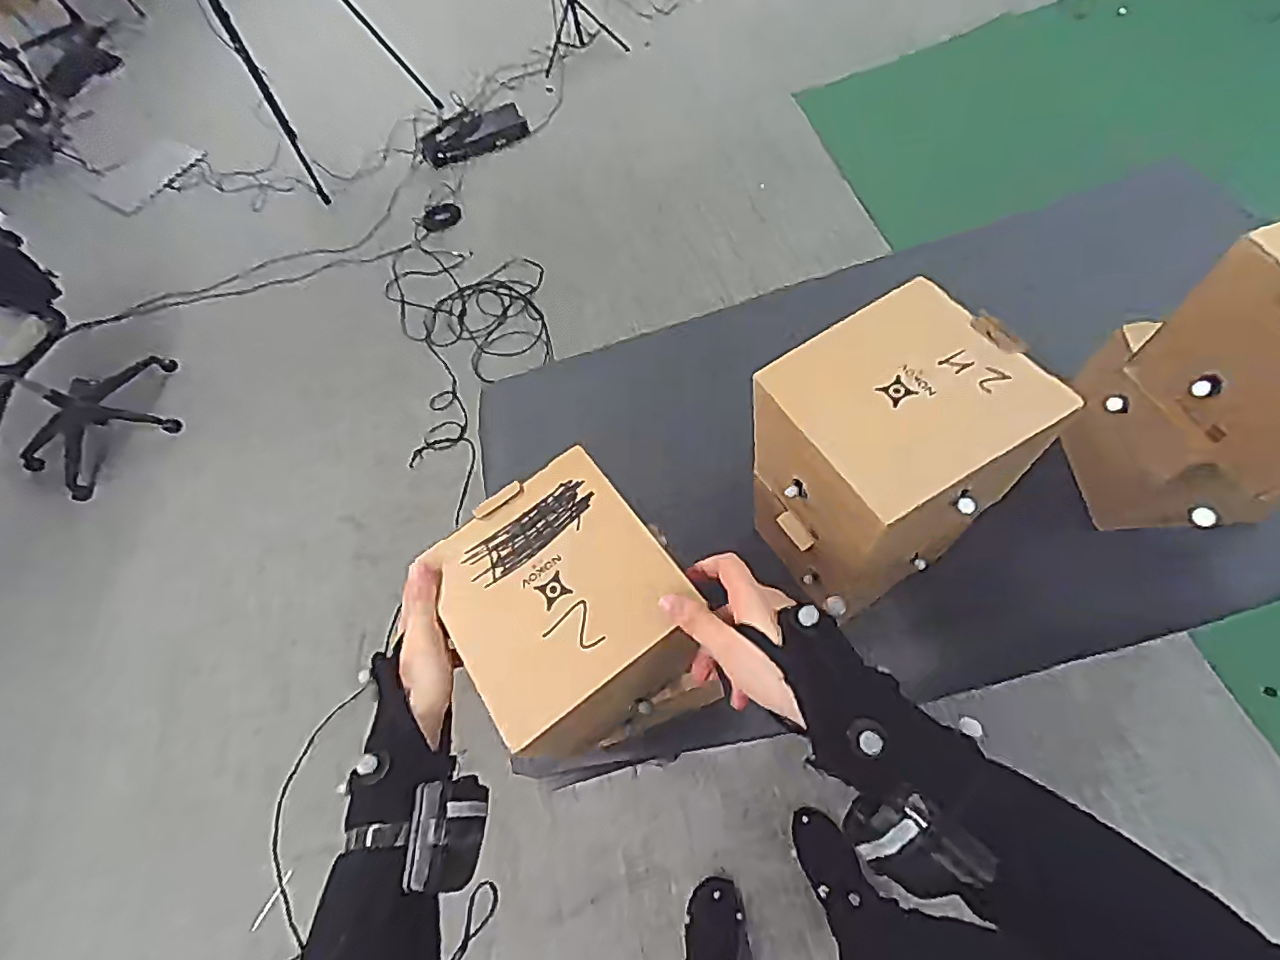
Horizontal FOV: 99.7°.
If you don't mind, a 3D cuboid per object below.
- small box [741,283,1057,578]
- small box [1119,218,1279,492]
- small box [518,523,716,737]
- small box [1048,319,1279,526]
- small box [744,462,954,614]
[{"bbox_3d":[0.213,-0.035,0.498,0.179,0.176,0.168,-30,61,-4],"label":"small box"},{"bbox_3d":[0.578,-0.115,0.454,0.179,0.176,0.168,-20,60,4],"label":"small box"},{"bbox_3d":[-0.021,0.181,0.630,0.168,0.176,0.179,-22,61,1],"label":"small box"},{"bbox_3d":[0.603,-0.062,0.608,0.168,0.176,0.179,-5,63,11],"label":"small box"},{"bbox_3d":[0.245,0.036,0.644,0.179,0.176,0.168,-32,62,-5],"label":"small box"}]
